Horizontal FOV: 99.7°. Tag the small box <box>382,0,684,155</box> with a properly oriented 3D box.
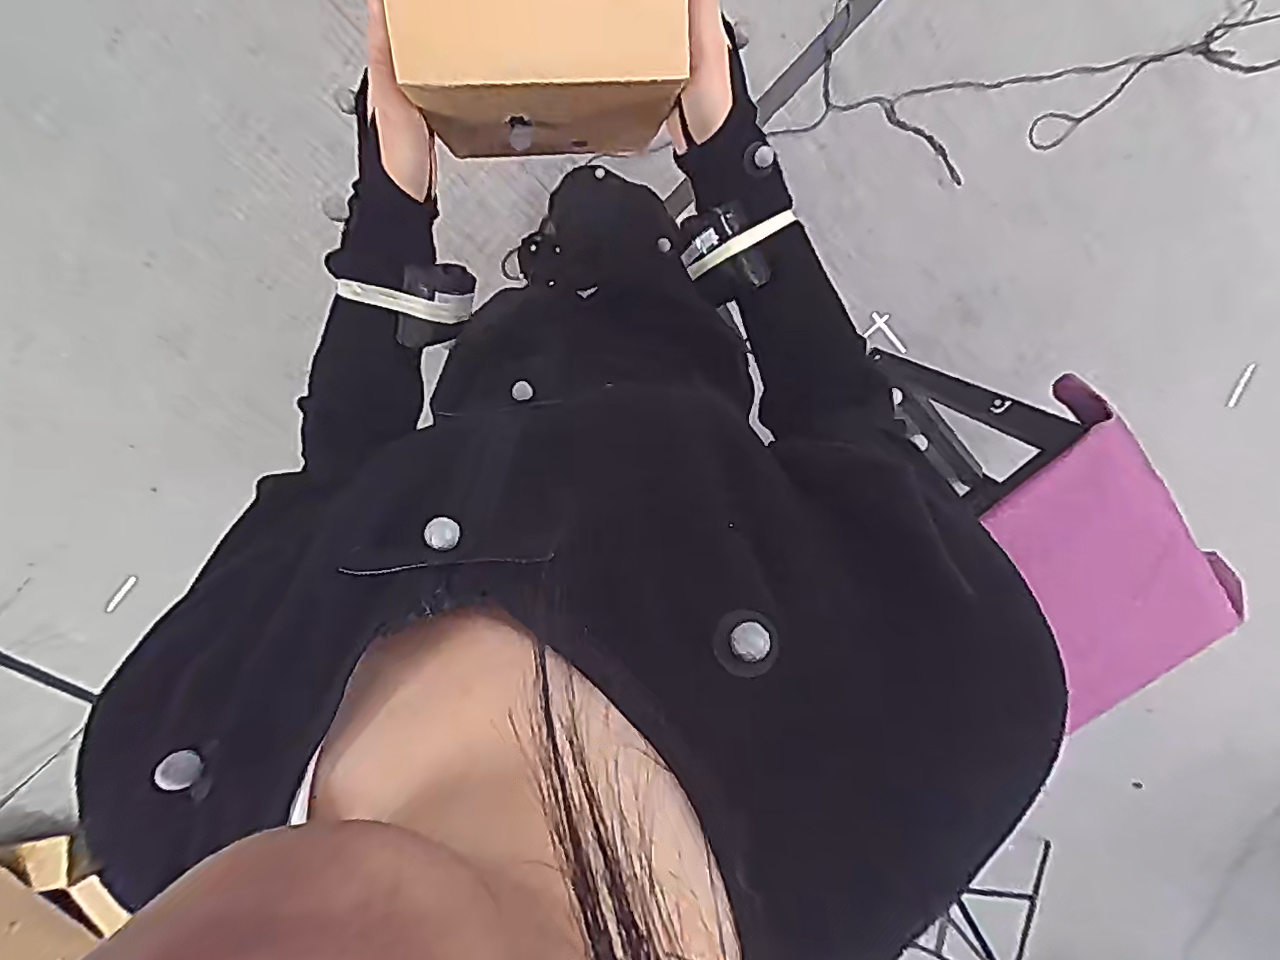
[{"bbox_3d":[-0.067,-0.328,0.355,0.168,0.176,0.179,-6,108,-6],"label":"small box"}]
